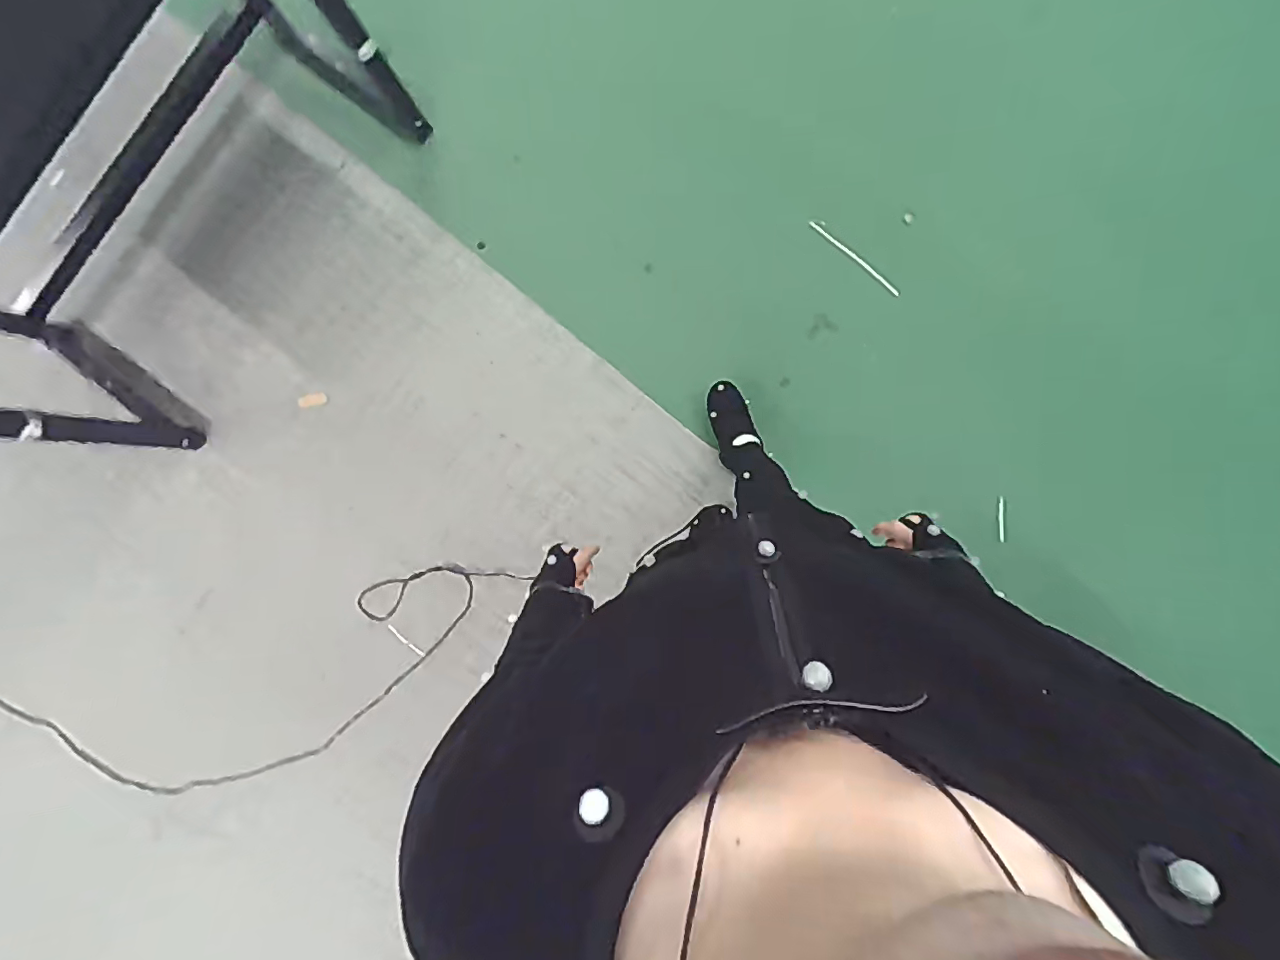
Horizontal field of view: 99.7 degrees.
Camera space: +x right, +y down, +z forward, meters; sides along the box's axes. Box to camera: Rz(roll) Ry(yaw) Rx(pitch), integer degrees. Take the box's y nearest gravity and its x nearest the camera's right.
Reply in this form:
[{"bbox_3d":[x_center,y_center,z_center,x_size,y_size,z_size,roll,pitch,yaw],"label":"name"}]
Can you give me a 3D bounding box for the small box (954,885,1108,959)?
[{"bbox_3d":[0.620,0.760,0.805,0.179,0.176,0.168,43,93,1],"label":"small box"}]
